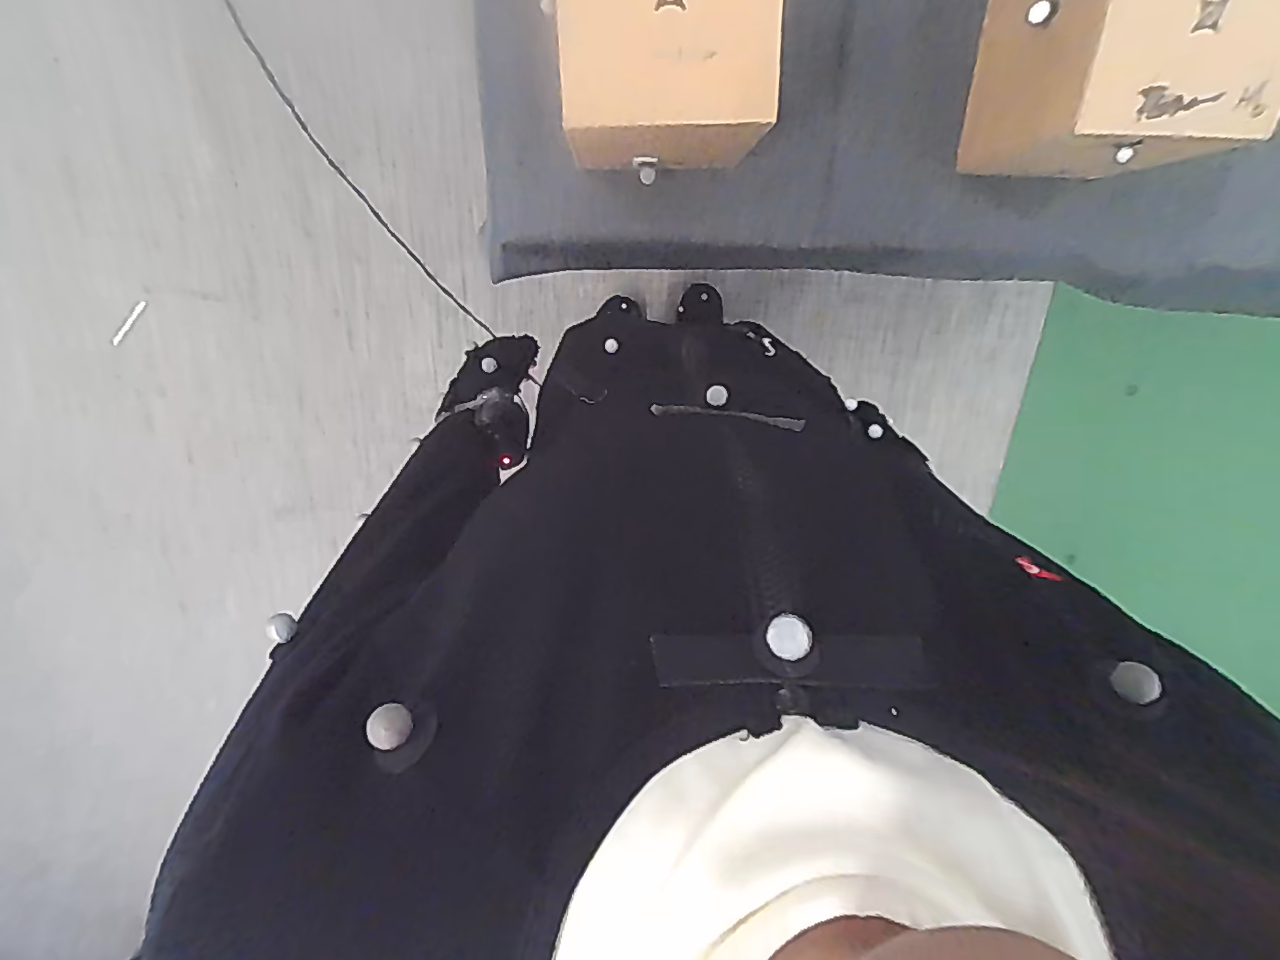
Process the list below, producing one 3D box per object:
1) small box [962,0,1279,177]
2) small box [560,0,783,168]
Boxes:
[{"bbox_3d":[0.420,-0.385,0.475,0.168,0.176,0.179,1,110,-2],"label":"small box"},{"bbox_3d":[0.020,-0.385,0.462,0.168,0.176,0.179,-2,110,0],"label":"small box"}]
